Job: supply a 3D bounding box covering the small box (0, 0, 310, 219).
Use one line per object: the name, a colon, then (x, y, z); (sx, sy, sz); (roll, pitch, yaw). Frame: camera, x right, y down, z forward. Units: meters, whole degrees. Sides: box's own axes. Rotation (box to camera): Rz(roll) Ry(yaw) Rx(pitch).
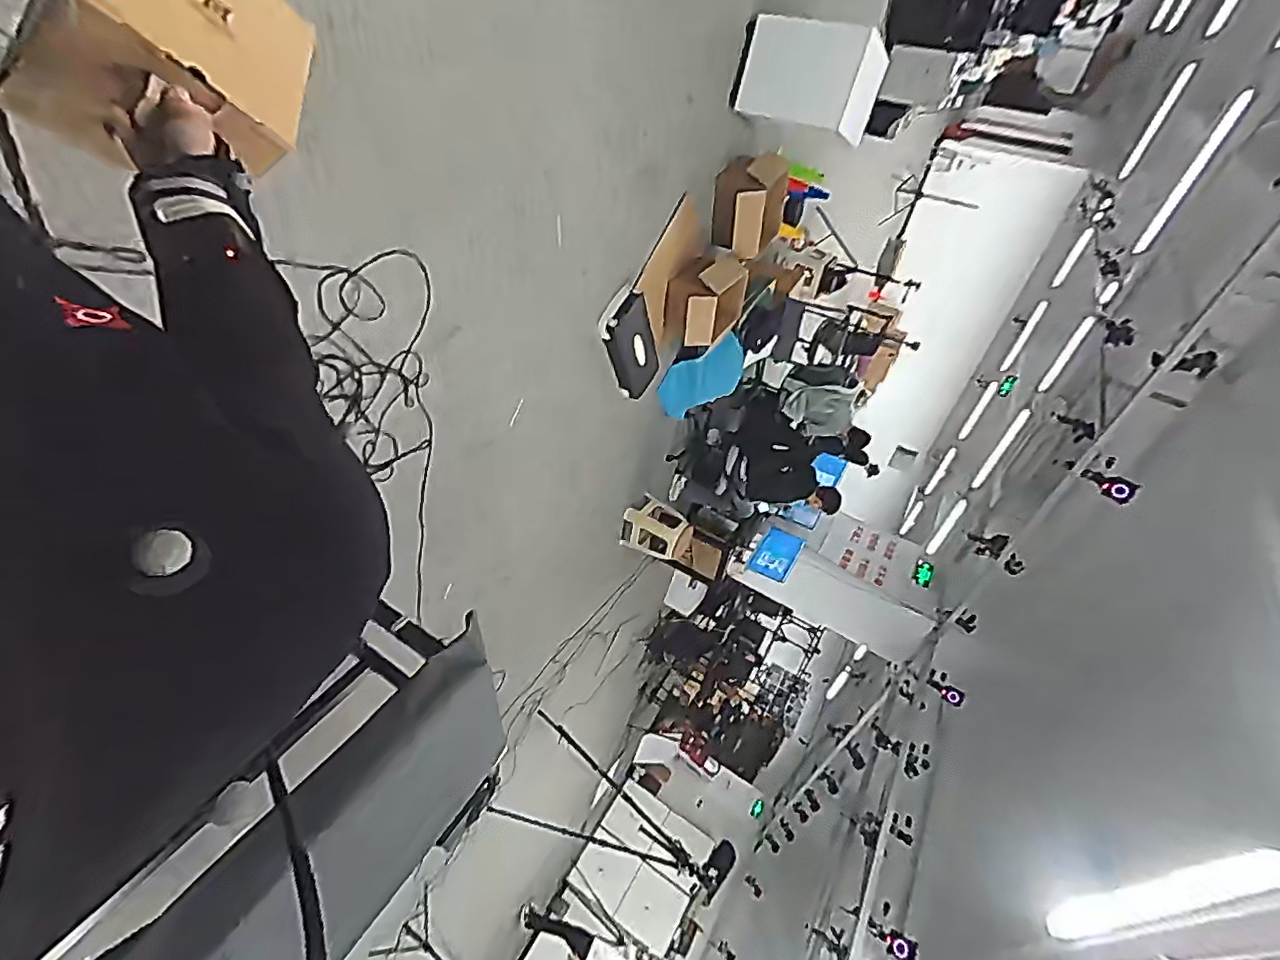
small box: (-0.457, -0.400, 0.521); (0.168, 0.176, 0.179); (27, 53, -58)
